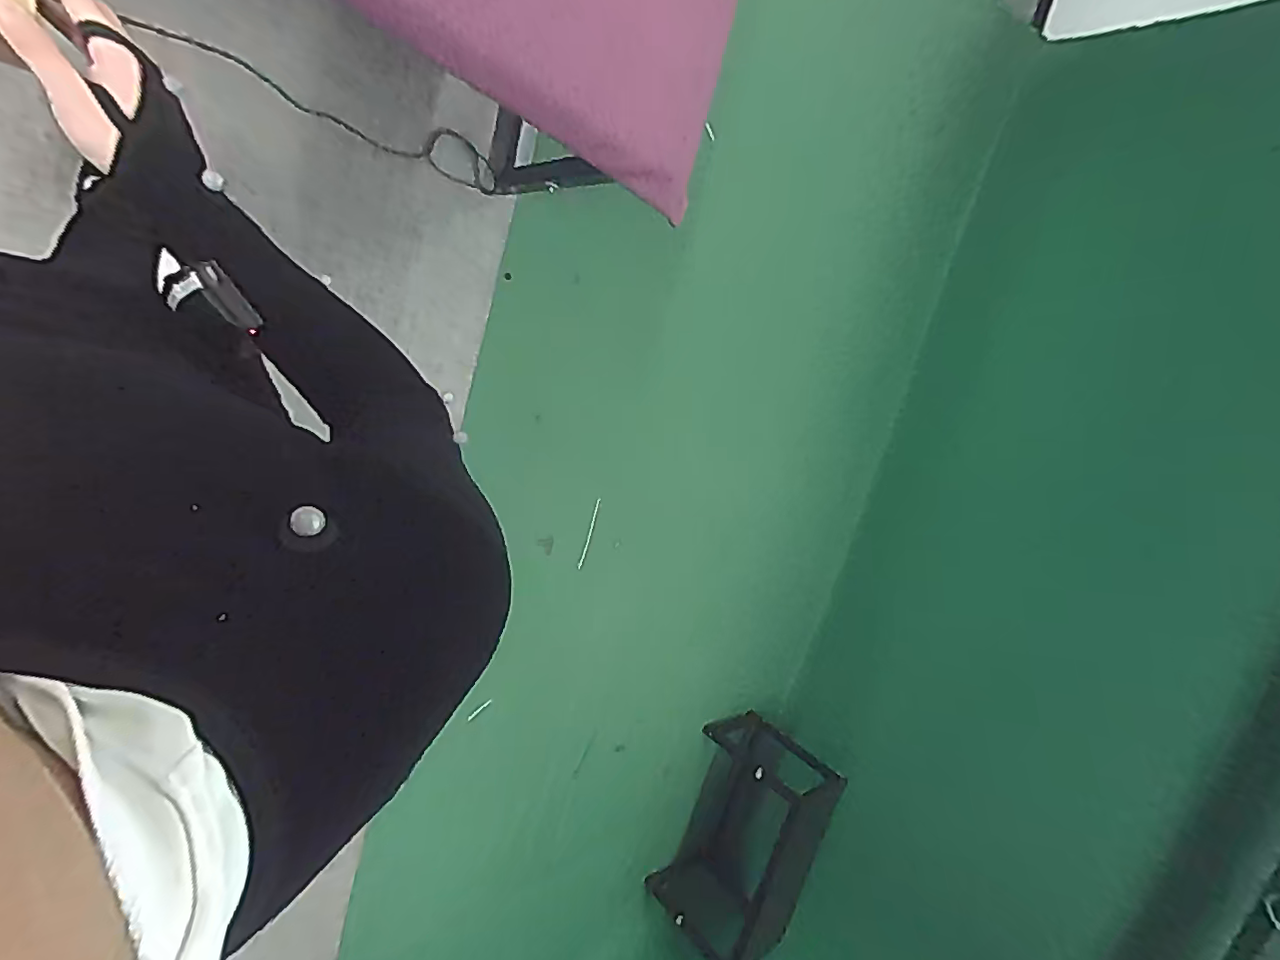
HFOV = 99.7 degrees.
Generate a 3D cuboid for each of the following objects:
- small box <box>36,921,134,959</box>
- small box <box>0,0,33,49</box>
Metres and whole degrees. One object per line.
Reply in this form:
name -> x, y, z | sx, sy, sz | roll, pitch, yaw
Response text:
small box -> -1.298, 1.196, 1.257 | 0.168, 0.176, 0.179 | 6, 105, -46
small box -> -0.504, -0.415, 0.334 | 0.168, 0.176, 0.179 | -5, 110, -48
